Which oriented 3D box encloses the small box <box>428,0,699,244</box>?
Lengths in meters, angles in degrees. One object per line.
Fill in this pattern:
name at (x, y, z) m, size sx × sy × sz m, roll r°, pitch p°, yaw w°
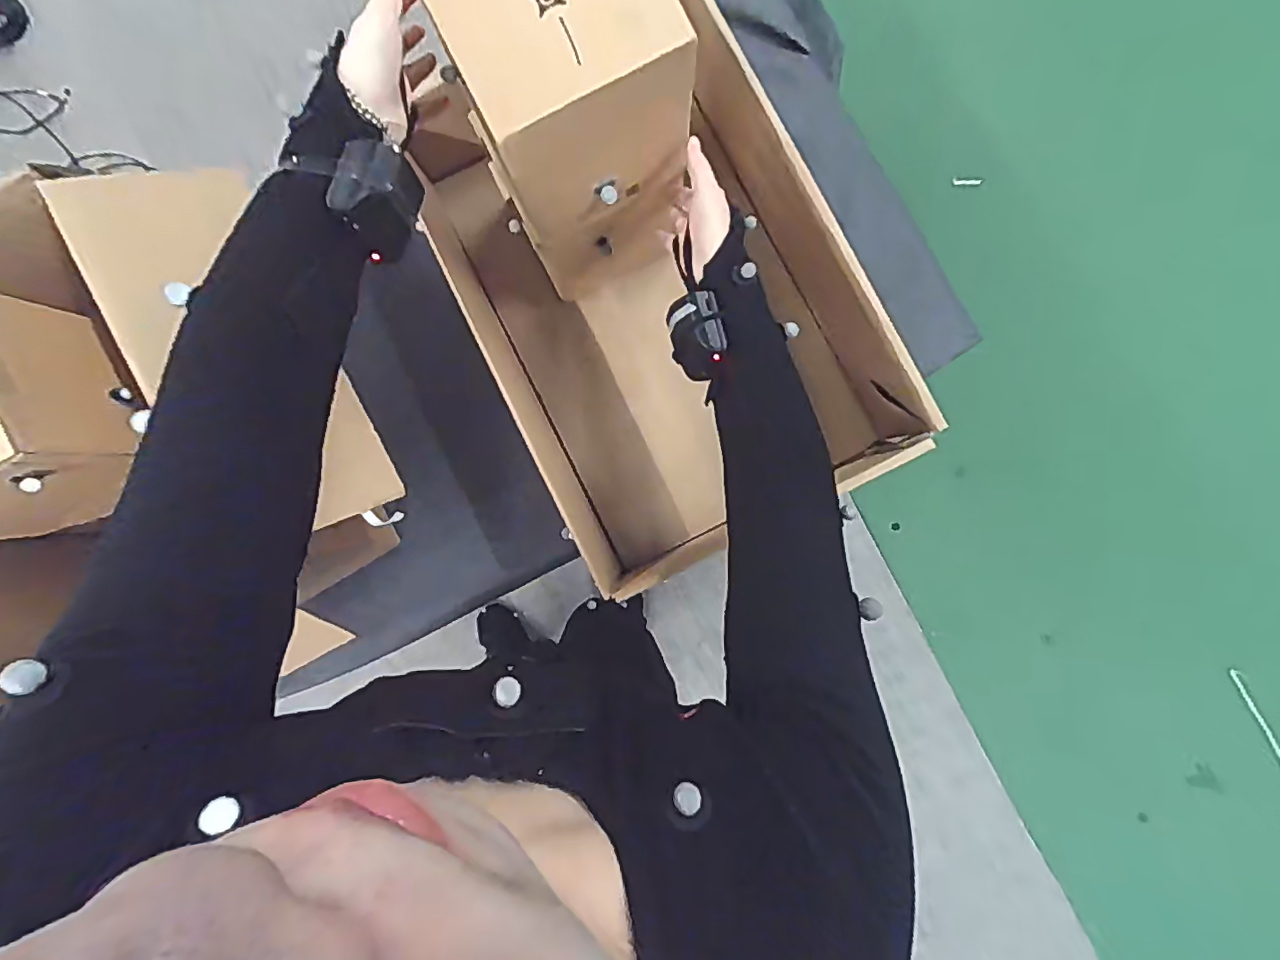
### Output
small box at (-0.065, -0.352, 0.480) m, size 0.168 × 0.176 × 0.179 m, roll -27°, pitch 89°, yaw 1°
